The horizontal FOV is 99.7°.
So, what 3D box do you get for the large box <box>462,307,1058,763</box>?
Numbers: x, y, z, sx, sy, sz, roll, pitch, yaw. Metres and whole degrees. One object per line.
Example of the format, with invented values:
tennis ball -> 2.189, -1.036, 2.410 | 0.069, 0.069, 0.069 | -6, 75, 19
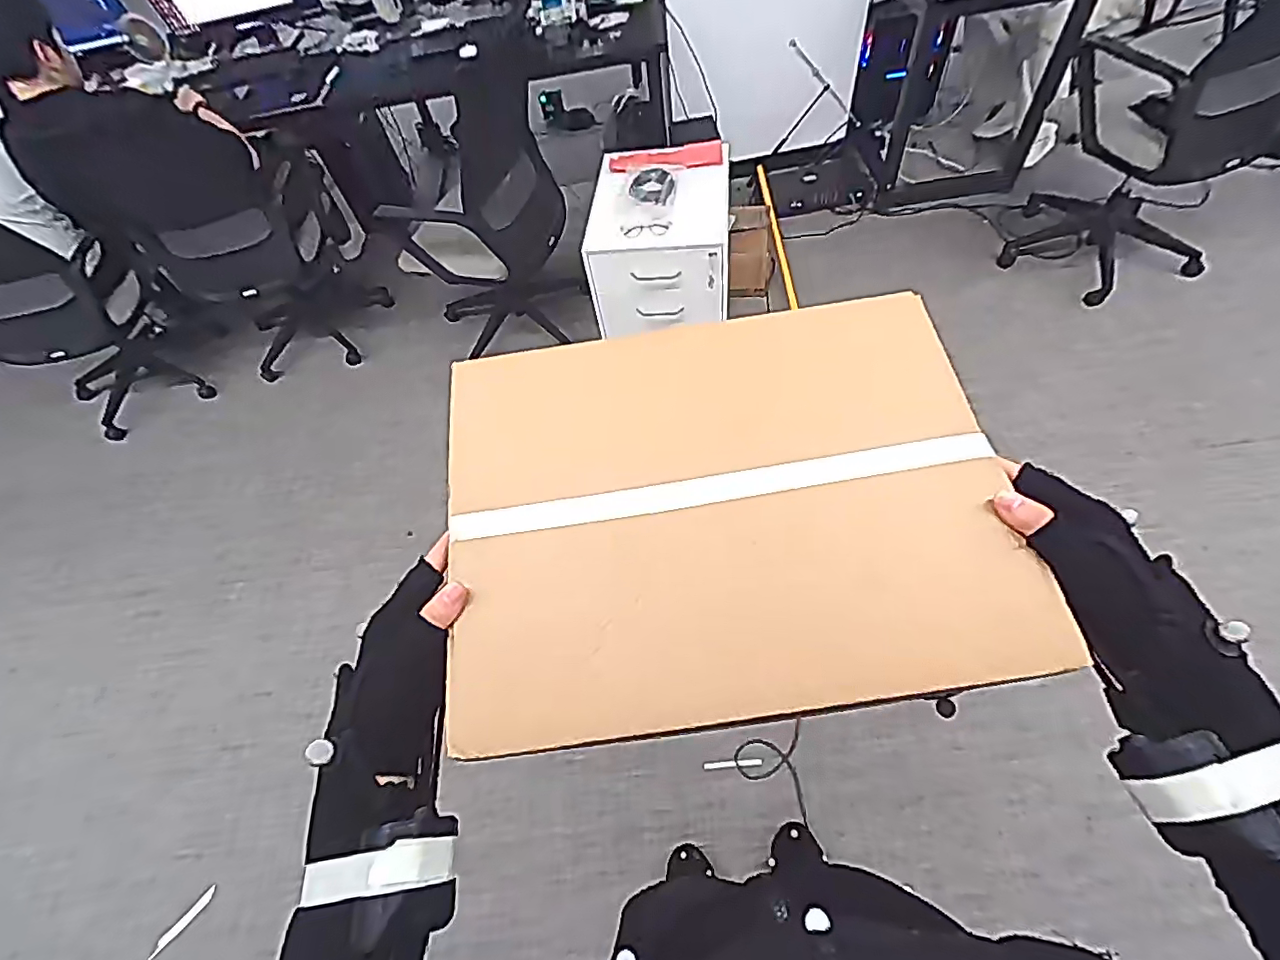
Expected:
large box -> 0.072, 0.077, 0.551 | 0.408, 0.320, 0.320 | -9, 64, 1
